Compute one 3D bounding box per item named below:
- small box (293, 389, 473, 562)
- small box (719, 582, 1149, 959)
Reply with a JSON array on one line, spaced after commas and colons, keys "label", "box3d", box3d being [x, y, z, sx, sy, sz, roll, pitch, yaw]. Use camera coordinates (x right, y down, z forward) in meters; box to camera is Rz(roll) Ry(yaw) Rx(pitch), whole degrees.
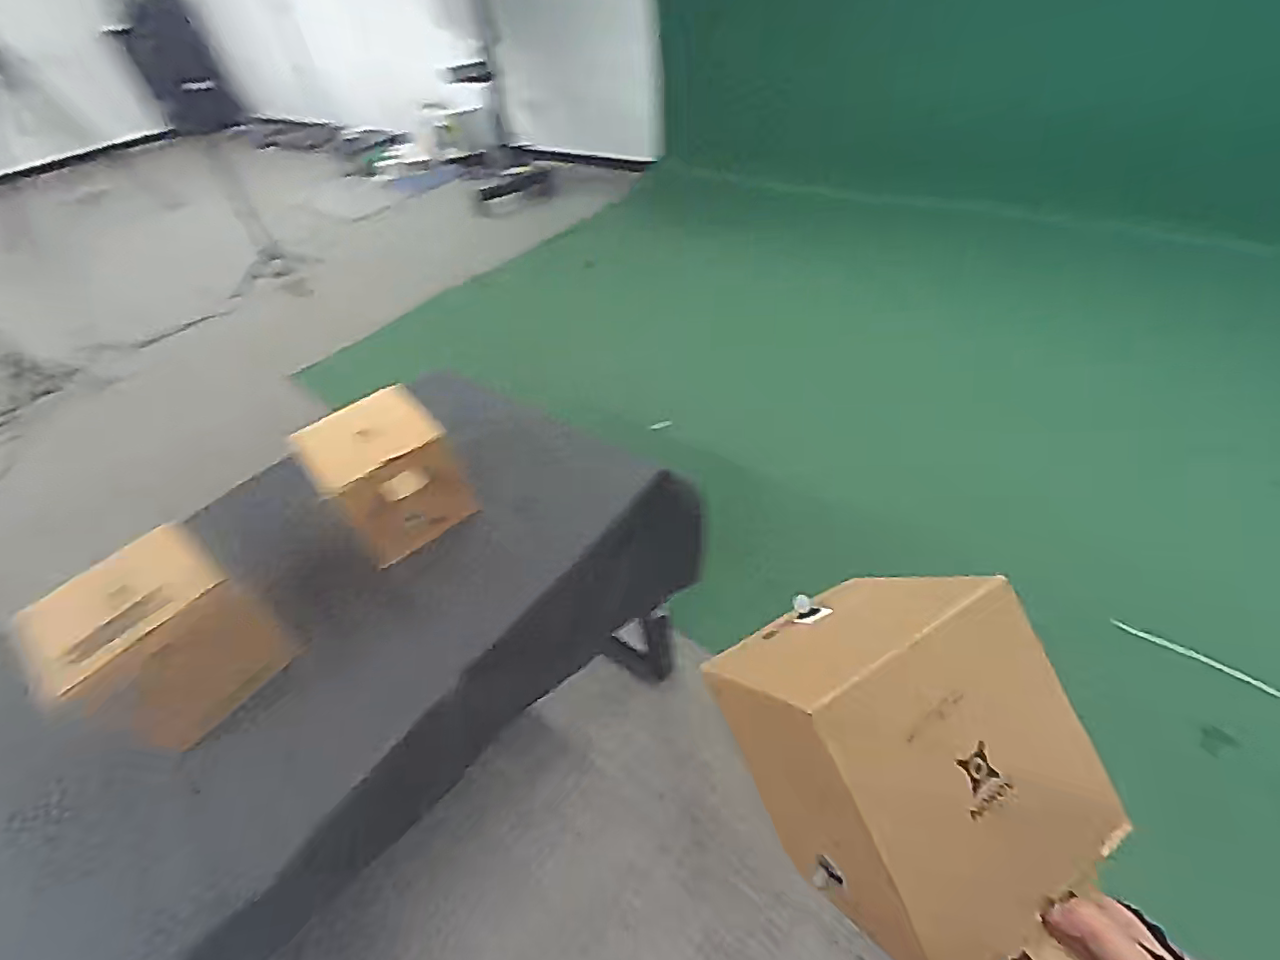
[{"label": "small box", "box3d": [-0.390, -0.006, 0.837, 0.168, 0.176, 0.179, -36, 52, -24]}, {"label": "small box", "box3d": [0.185, 0.184, 0.388, 0.168, 0.176, 0.179, -24, 86, -17]}]
